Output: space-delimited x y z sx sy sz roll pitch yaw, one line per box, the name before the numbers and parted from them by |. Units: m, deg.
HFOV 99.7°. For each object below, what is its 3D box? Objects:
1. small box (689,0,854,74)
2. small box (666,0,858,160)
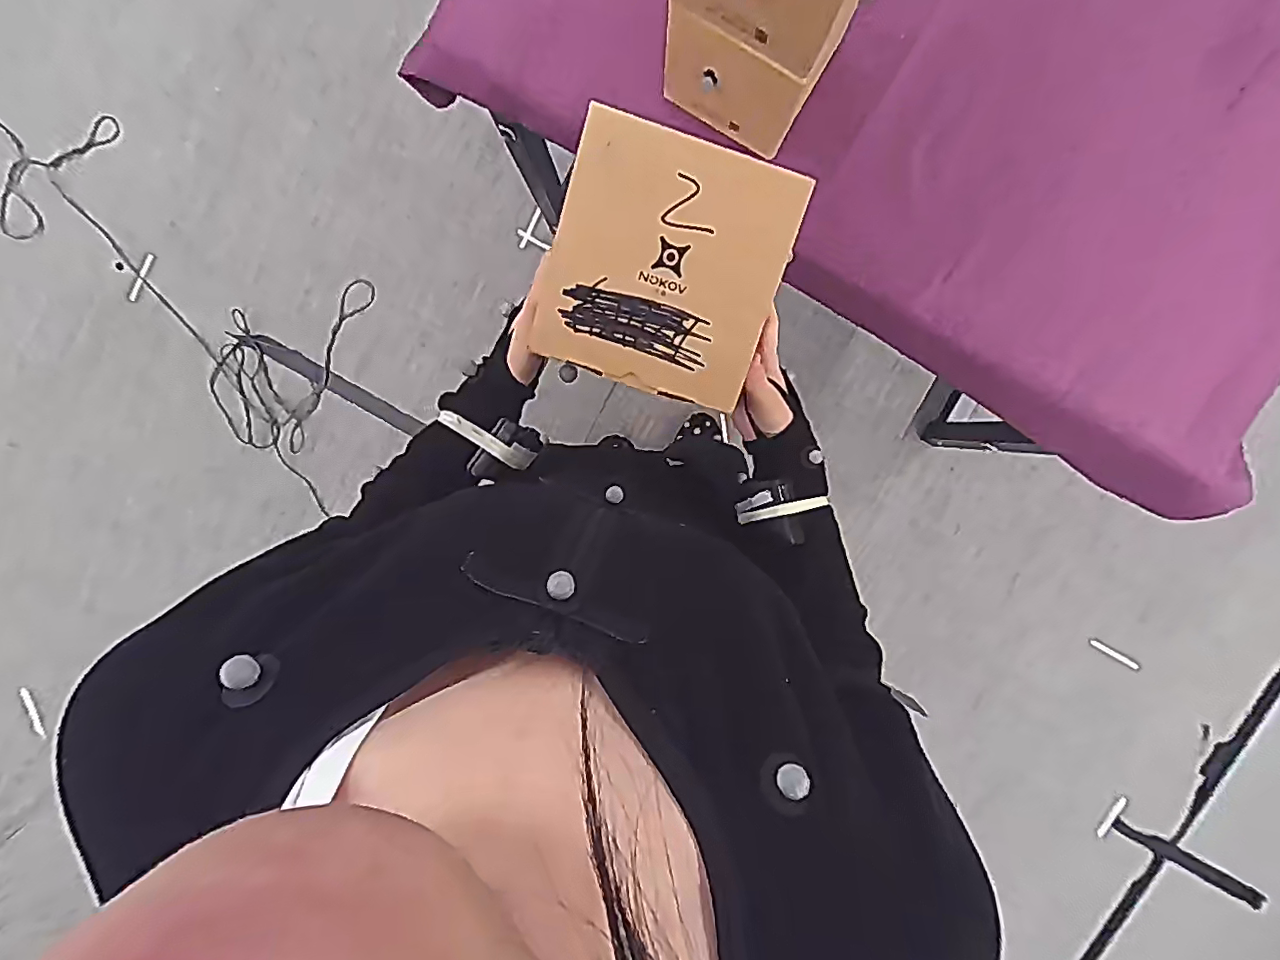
small box | 0.141 -0.515 0.470 0.168 0.176 0.179 29 95 -2
small box | 0.142 -0.524 0.633 0.168 0.176 0.179 30 94 -2
